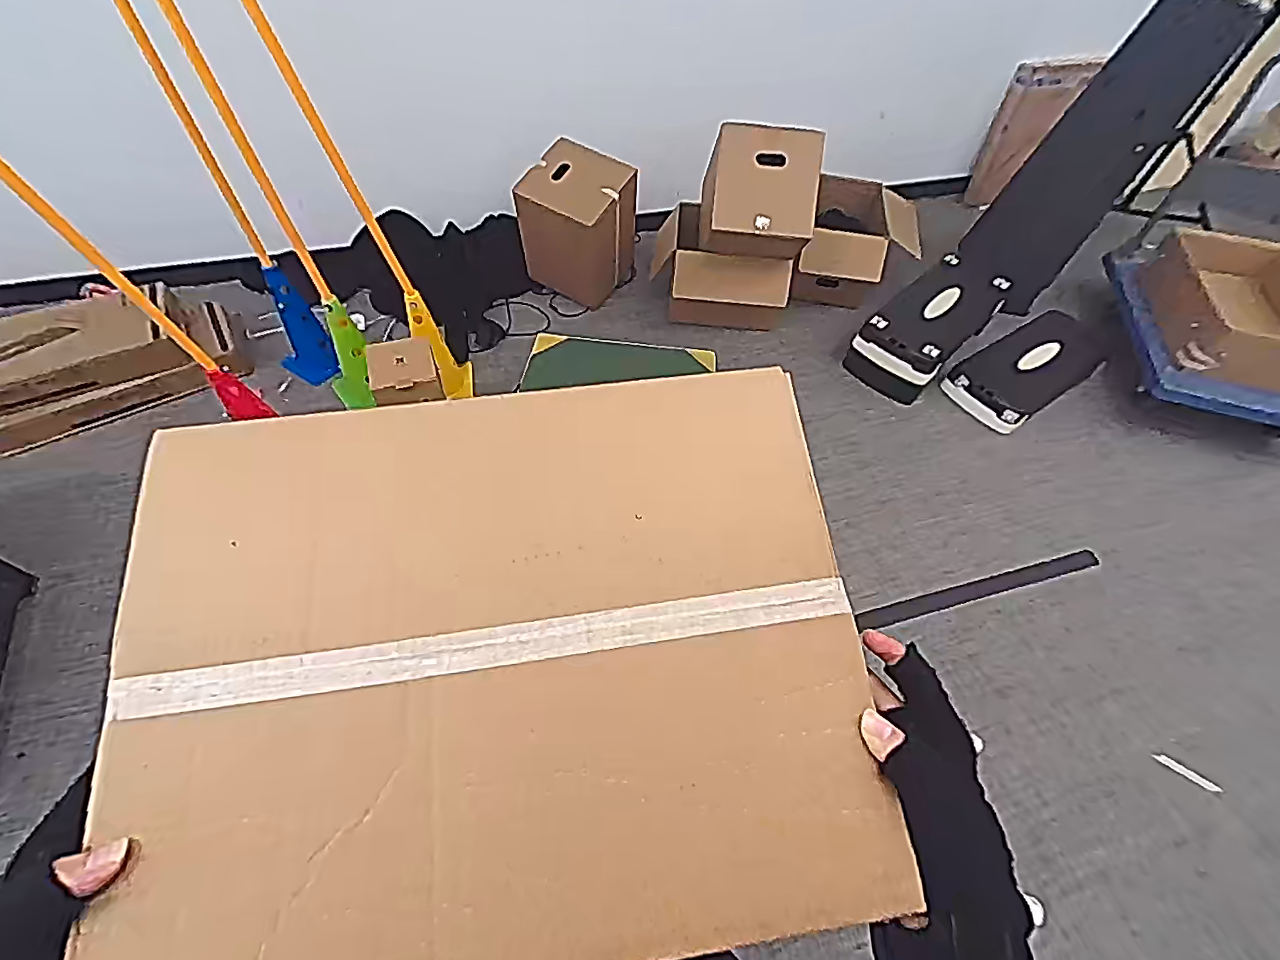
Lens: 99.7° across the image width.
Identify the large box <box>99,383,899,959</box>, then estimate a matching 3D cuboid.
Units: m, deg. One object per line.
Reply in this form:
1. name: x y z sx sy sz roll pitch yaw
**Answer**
1. large box: -0.084 0.149 0.451 0.408 0.320 0.320 -7 71 -5
